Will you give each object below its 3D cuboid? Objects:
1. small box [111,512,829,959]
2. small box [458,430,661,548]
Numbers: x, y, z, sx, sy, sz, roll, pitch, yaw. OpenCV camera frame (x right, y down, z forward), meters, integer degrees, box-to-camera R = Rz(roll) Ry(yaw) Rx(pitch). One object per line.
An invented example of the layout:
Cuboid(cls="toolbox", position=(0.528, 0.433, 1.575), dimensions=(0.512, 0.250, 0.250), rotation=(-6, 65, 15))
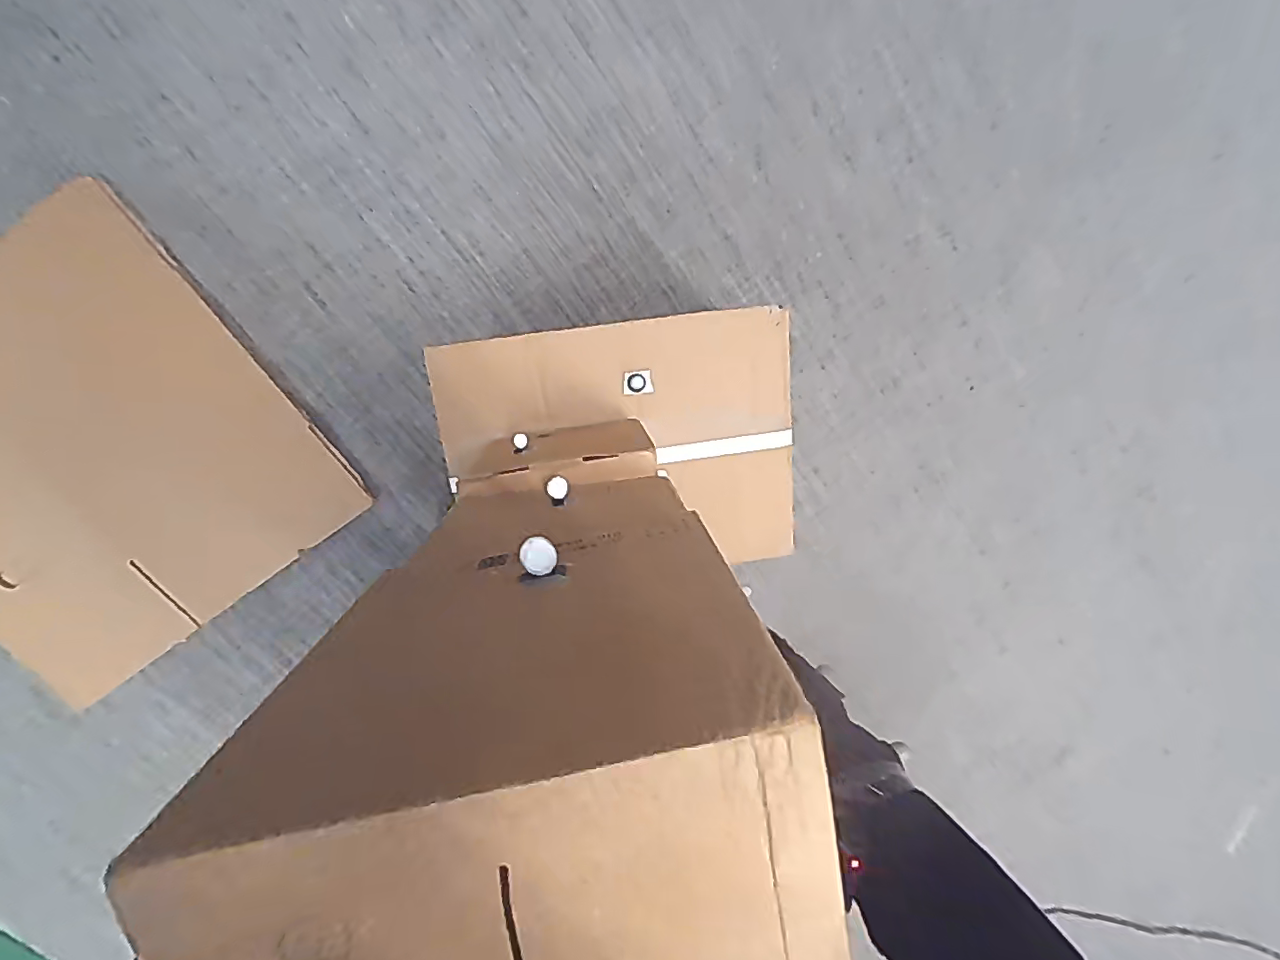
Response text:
Cuboid(cls="small box", position=(-0.032, 0.130, 0.224), dimensions=(0.168, 0.176, 0.179), rotation=(-12, 103, -2))
Cuboid(cls="small box", position=(-0.063, 0.052, 0.543), dimensions=(0.168, 0.176, 0.179), rotation=(-10, 106, -1))
